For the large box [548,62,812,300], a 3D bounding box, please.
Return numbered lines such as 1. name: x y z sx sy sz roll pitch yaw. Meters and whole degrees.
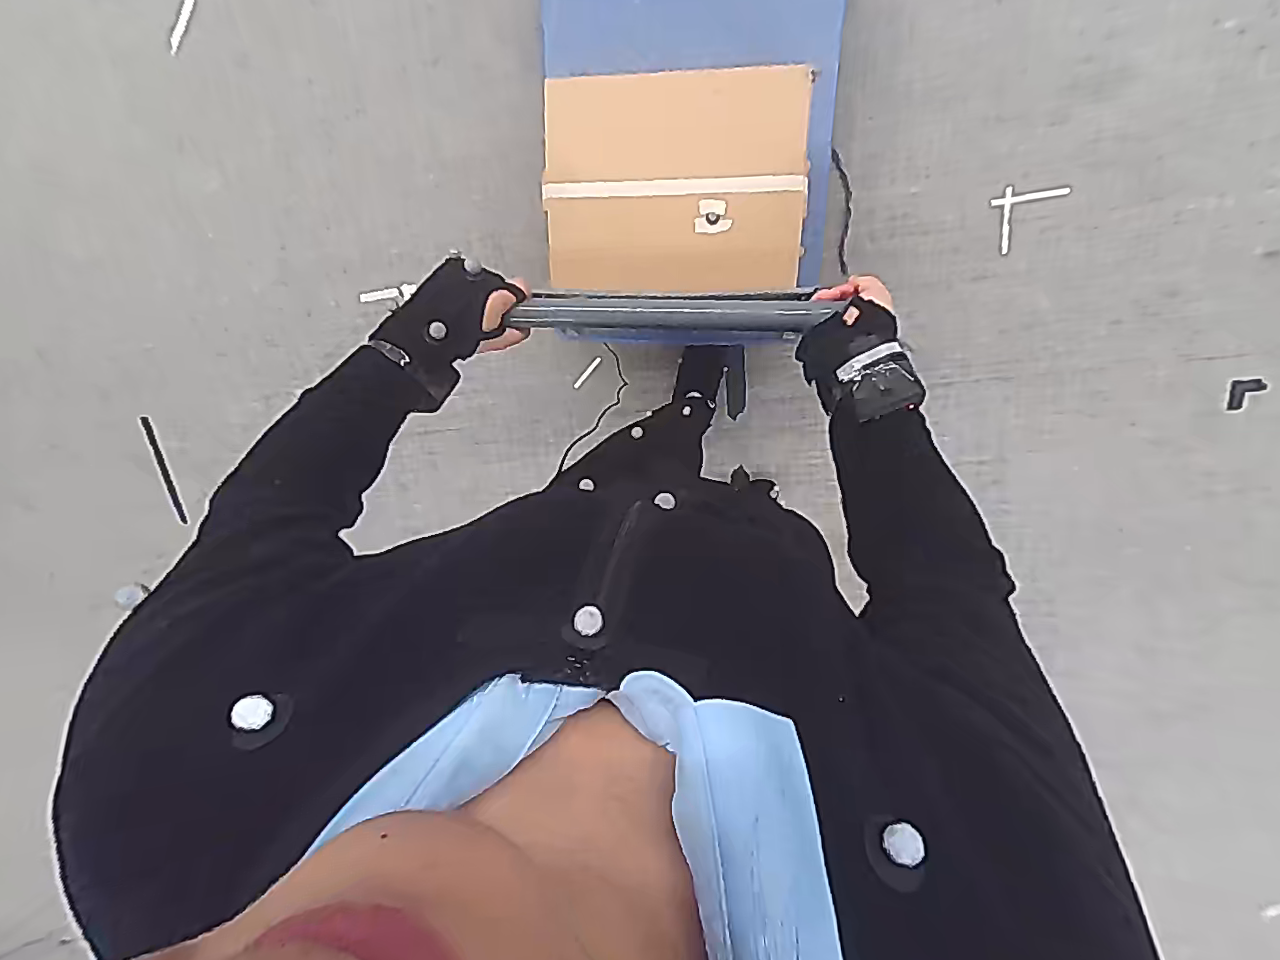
1. large box: 0.074 -0.504 0.992 0.408 0.320 0.320 2 107 8
